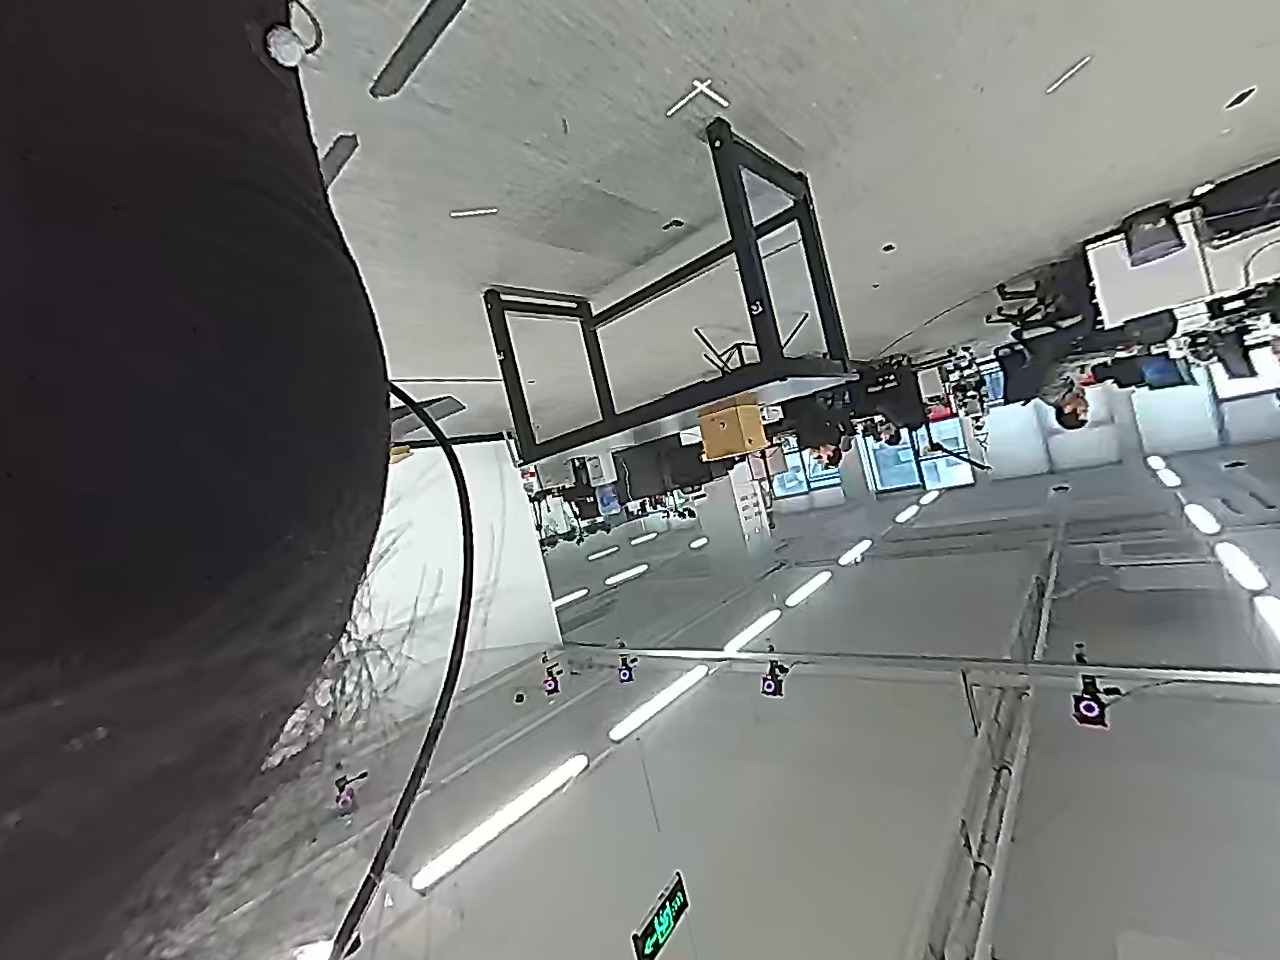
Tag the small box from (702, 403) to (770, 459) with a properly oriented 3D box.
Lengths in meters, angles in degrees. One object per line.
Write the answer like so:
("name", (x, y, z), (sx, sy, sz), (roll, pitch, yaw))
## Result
("small box", (0.349, -0.181, 1.975), (0.168, 0.176, 0.179), (-14, 179, 40))
